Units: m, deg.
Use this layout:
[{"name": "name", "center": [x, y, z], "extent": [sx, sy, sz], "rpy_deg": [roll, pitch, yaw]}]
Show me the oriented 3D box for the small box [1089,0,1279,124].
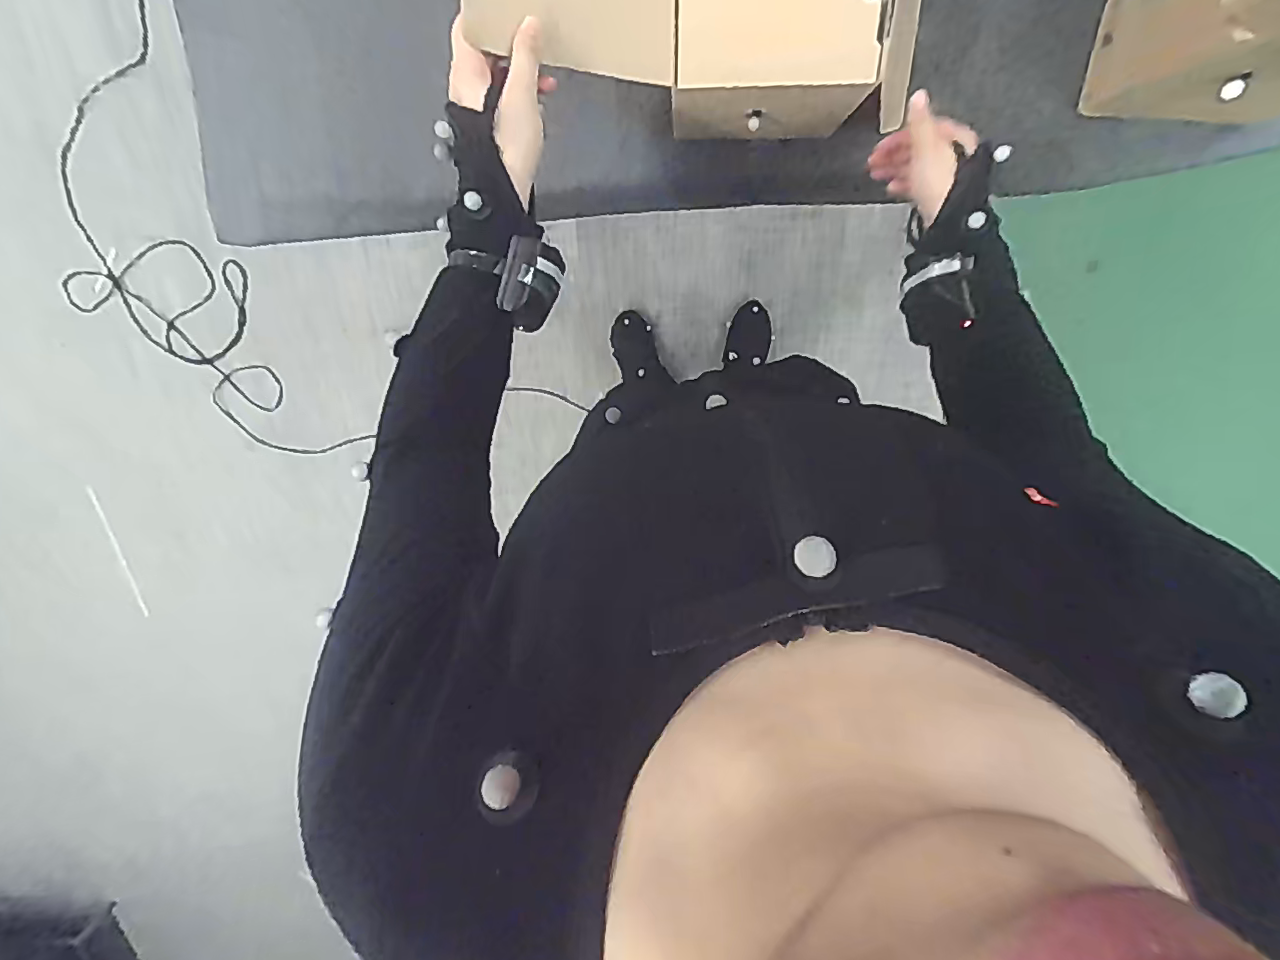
[{"name": "small box", "center": [0.548, -0.428, 0.465], "extent": [0.179, 0.176, 0.168], "rpy_deg": [5, 108, 4]}]
